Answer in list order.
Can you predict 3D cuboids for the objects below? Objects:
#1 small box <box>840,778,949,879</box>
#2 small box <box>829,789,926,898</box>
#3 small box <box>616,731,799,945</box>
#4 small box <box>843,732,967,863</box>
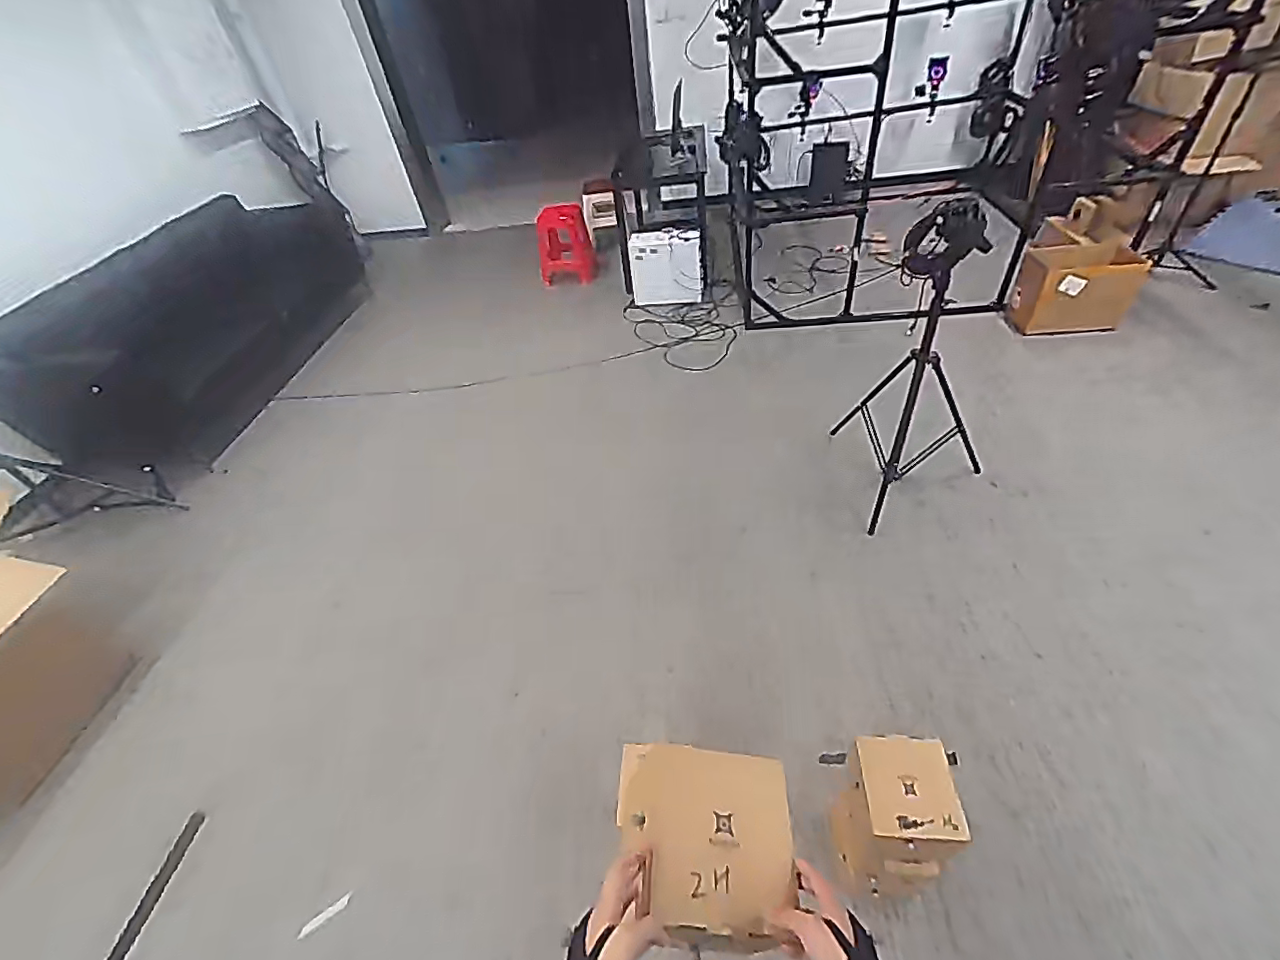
[{"bbox_3d":[0.542,0.745,1.177,0.168,0.176,0.179,-1,43,8],"label":"small box"},{"bbox_3d":[0.554,0.865,1.289,0.168,0.176,0.179,-1,44,9],"label":"small box"},{"bbox_3d":[0.071,0.437,0.659,0.168,0.176,0.179,12,44,-7],"label":"small box"},{"bbox_3d":[0.509,0.625,1.068,0.168,0.176,0.179,-1,43,9],"label":"small box"}]
